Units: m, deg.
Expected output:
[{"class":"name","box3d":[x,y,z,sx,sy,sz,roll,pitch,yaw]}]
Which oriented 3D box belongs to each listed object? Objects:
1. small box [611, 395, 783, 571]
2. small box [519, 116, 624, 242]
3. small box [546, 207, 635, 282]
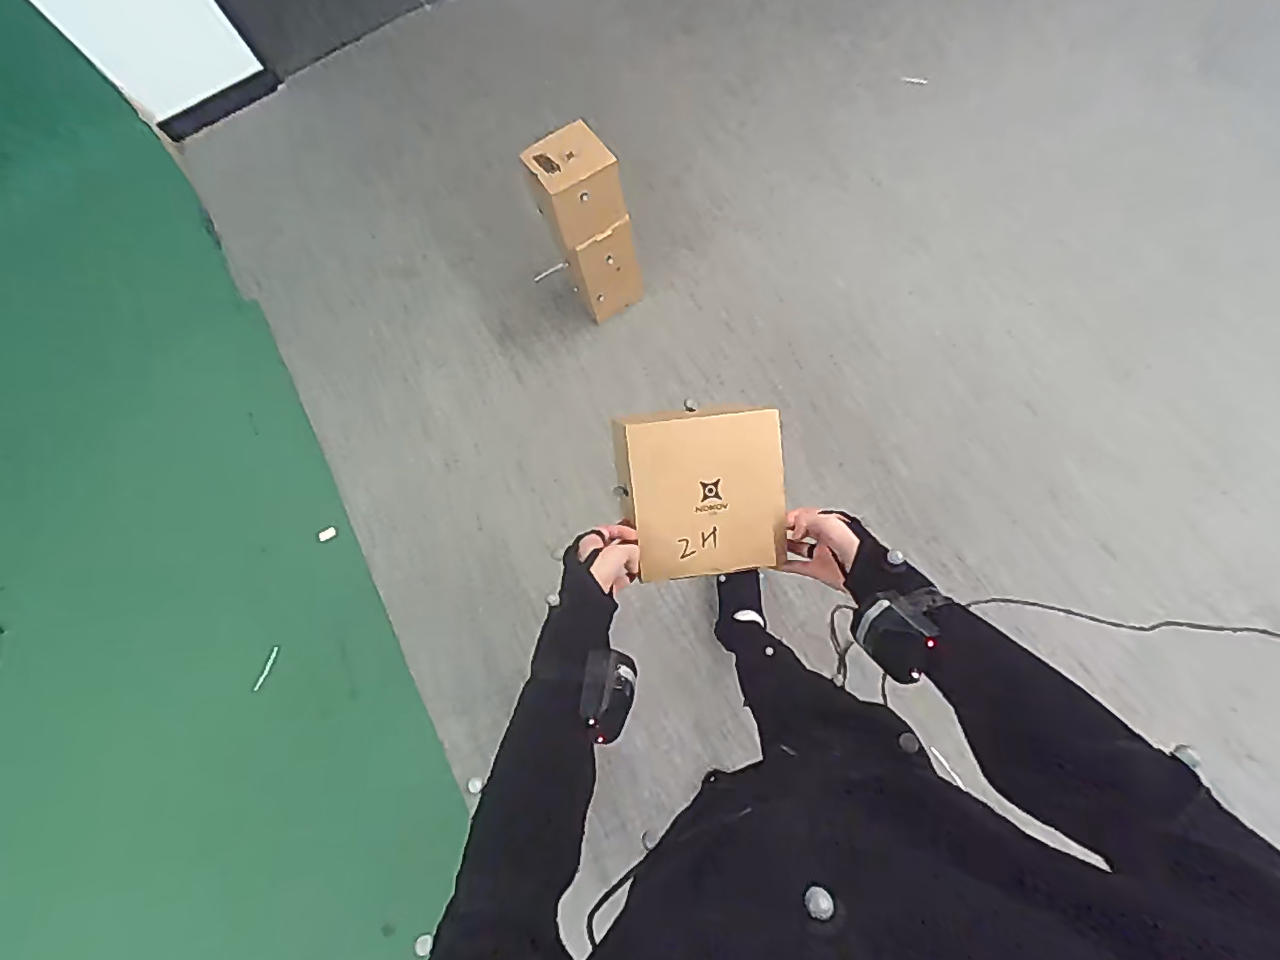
[{"class":"small box","box3d":[0.059,-0.009,0.649,0.168,0.176,0.179,-7,102,-6]},{"class":"small box","box3d":[-0.157,-0.716,1.302,0.179,0.176,0.168,-33,71,-5]},{"class":"small box","box3d":[-0.129,-0.665,1.456,0.168,0.176,0.179,-33,72,-5]}]
